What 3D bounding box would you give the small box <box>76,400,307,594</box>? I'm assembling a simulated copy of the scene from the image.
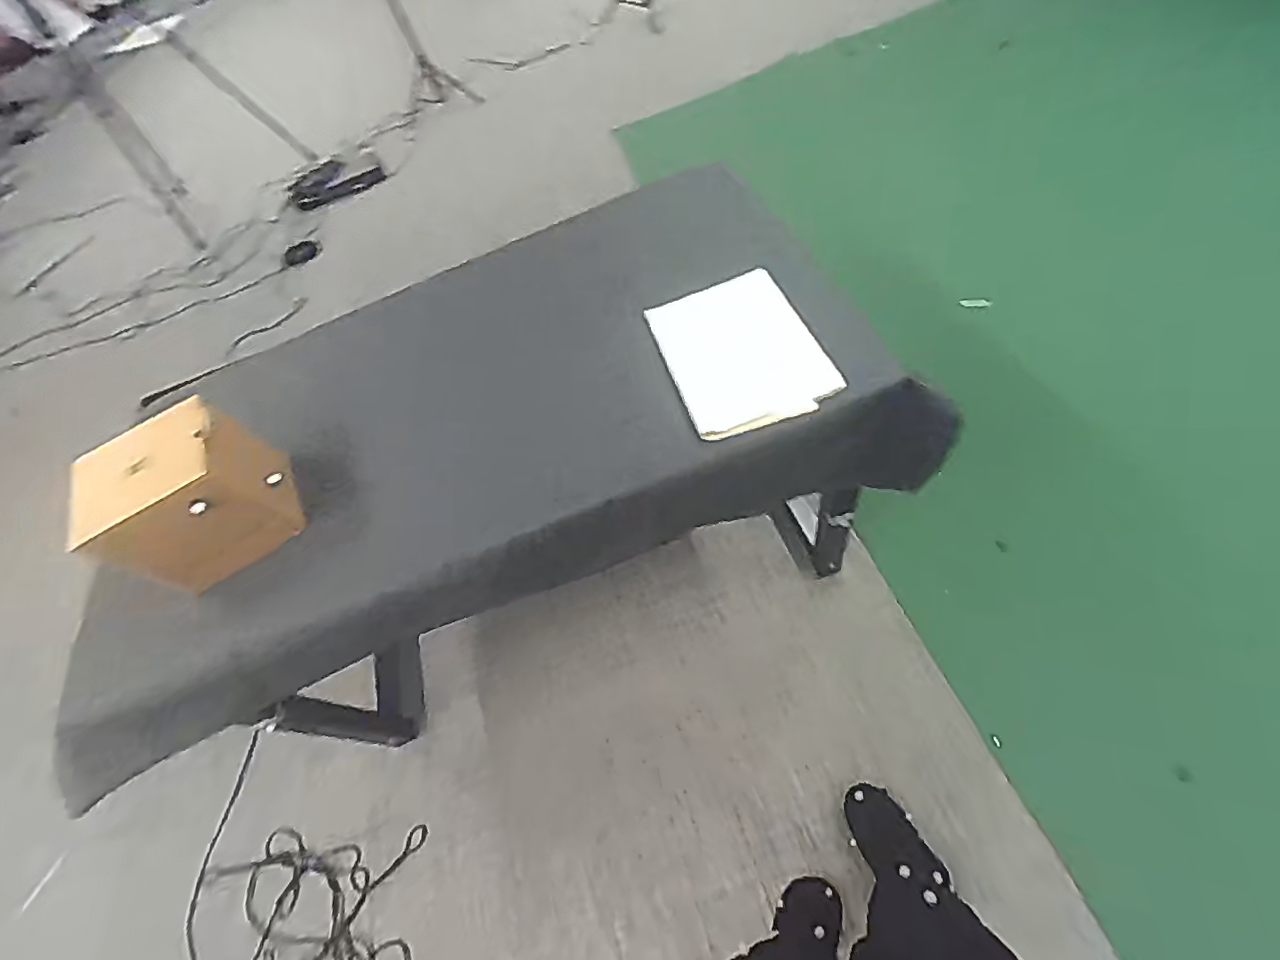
[{"bbox_3d":[-0.611,0.031,0.754,0.179,0.176,0.168,-32,56,-7],"label":"small box"}]
